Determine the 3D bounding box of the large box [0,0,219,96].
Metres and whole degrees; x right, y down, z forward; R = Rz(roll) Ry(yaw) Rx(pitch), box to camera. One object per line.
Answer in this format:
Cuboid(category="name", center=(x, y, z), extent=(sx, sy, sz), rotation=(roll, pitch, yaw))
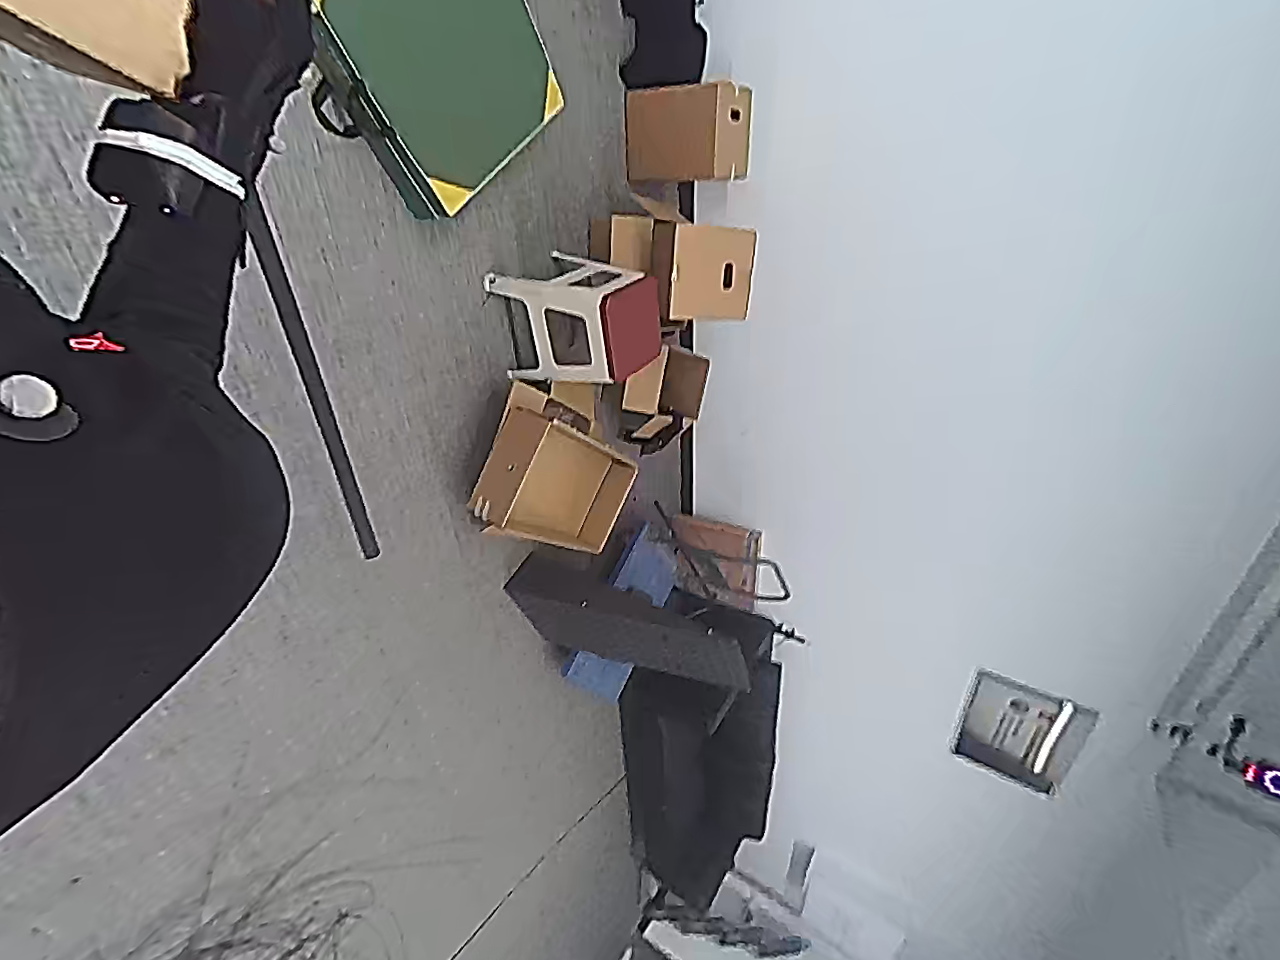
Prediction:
Cuboid(category="large box", center=(-0.492, -0.502, 0.283), extent=(0.408, 0.320, 0.320), rotation=(8, 110, -61))
